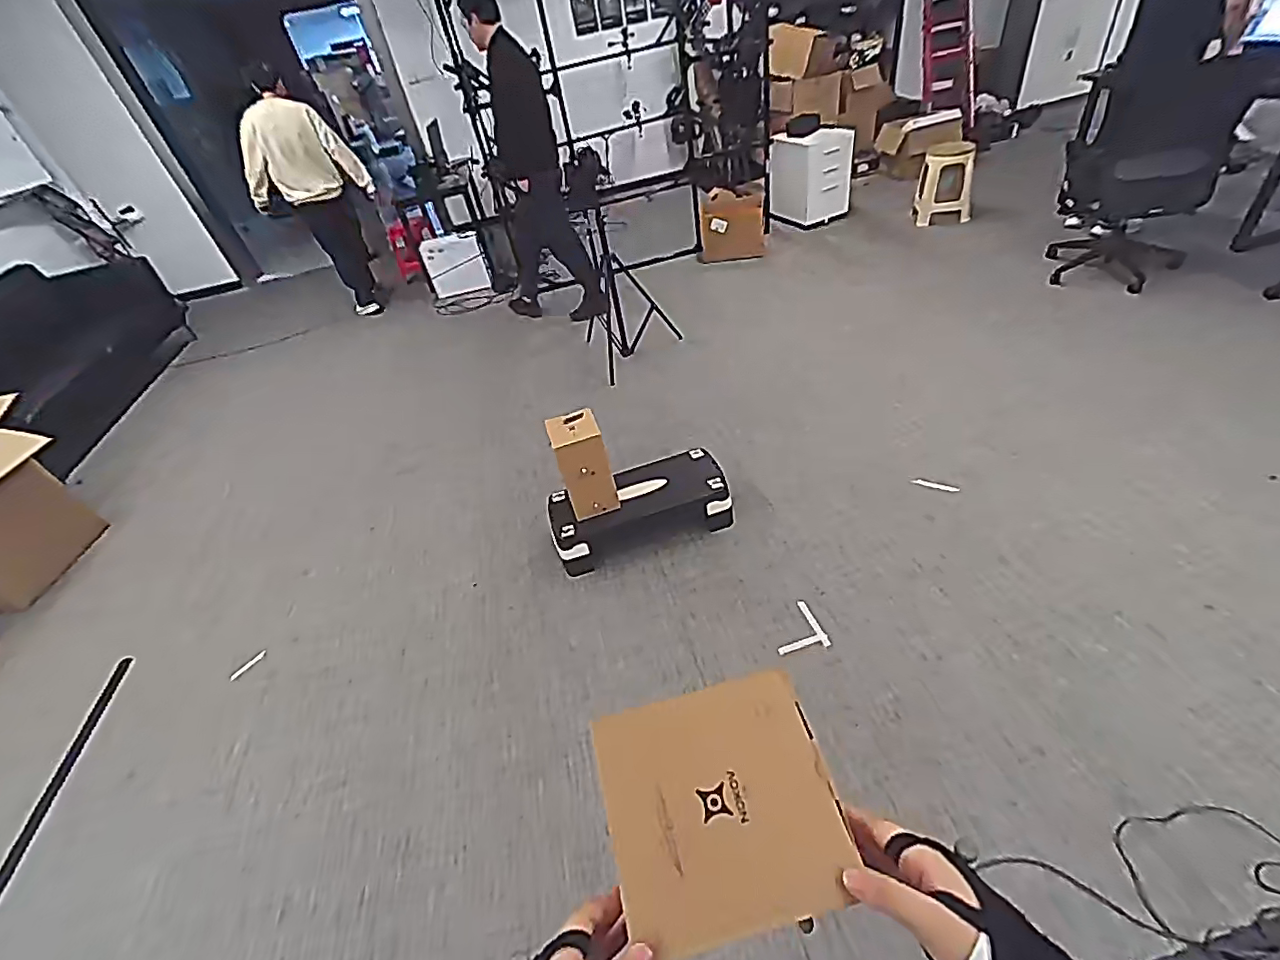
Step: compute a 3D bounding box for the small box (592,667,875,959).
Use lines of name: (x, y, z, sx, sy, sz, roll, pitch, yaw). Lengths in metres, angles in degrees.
small box: (0.068, 0.289, 0.478, 0.179, 0.176, 0.168, -16, 54, -4)

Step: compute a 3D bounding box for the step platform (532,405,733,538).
step platform: (-0.023, -0.033, 1.916, 0.684, 0.204, 0.286, -17, 40, -6)

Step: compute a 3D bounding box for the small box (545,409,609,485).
small box: (-0.216, -0.113, 1.857, 0.168, 0.176, 0.179, -18, 41, -7)

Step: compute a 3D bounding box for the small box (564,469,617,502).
small box: (-0.186, 0.012, 1.959, 0.168, 0.176, 0.179, -18, 40, -6)
